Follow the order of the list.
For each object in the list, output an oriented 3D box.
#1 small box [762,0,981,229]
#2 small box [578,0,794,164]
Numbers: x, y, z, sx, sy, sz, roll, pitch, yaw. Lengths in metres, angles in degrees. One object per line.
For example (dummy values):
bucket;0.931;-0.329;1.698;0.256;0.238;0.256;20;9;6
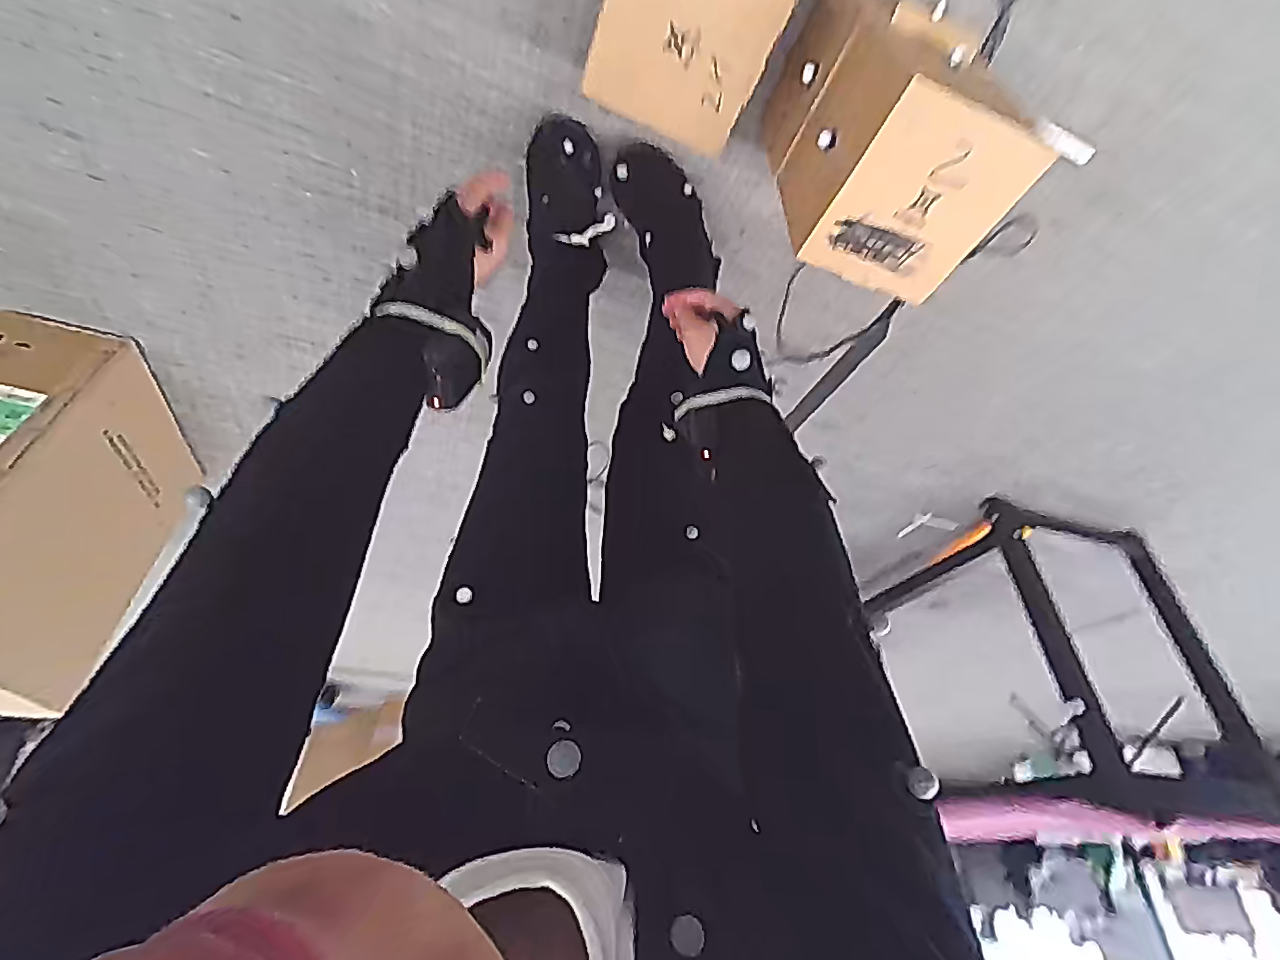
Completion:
small box;0.266;-0.459;0.672;0.168;0.176;0.179;13;143;-15
small box;0.045;-0.509;0.612;0.179;0.176;0.168;17;142;-17
